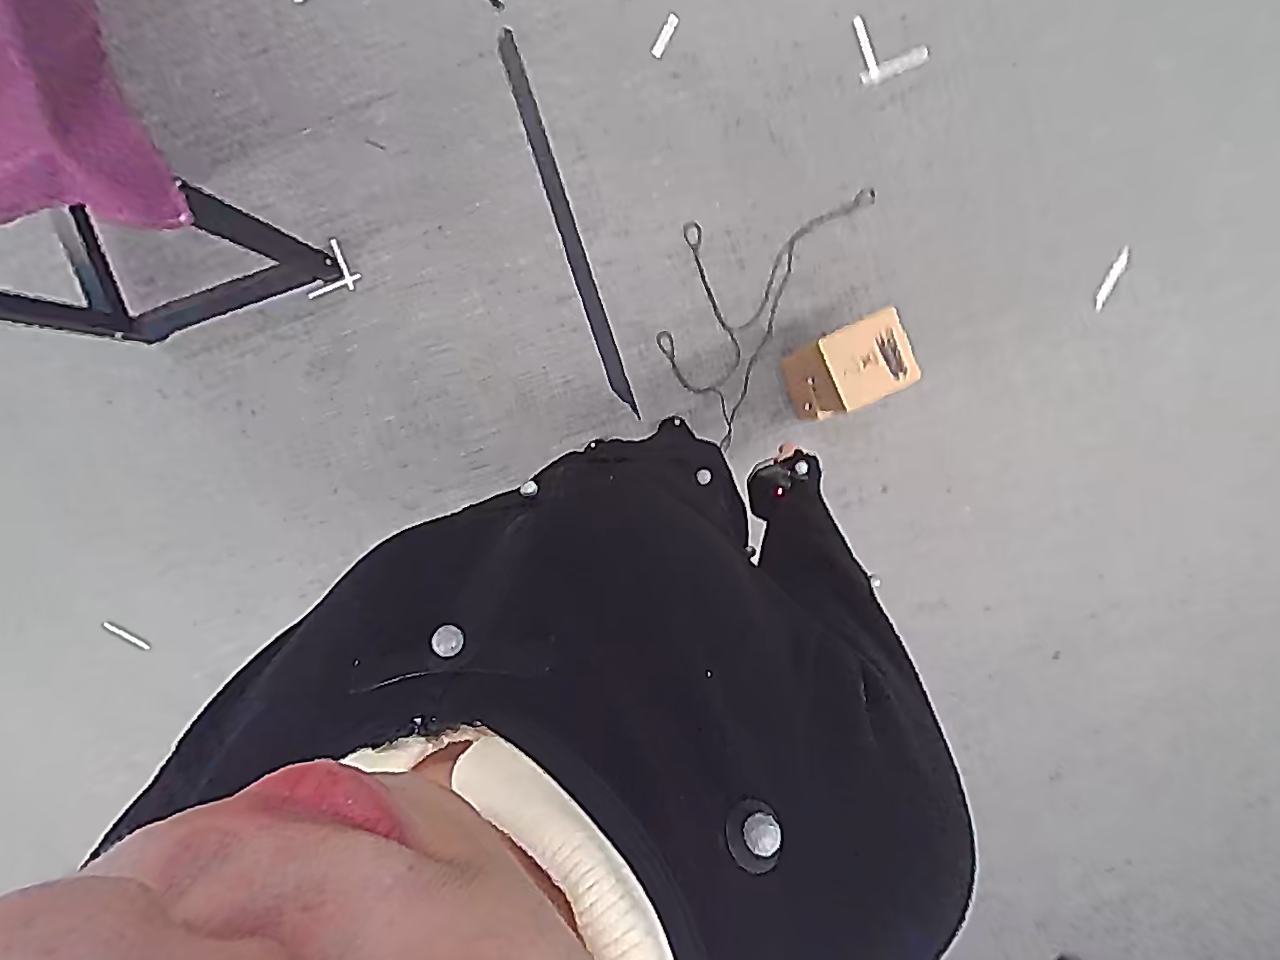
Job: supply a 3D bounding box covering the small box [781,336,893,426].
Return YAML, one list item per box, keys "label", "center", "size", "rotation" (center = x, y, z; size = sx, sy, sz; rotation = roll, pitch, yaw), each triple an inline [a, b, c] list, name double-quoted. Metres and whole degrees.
- label: "small box"
  center: [0.485, -0.245, 1.335]
  size: [0.179, 0.176, 0.168]
  rotation: [-29, 115, -14]
